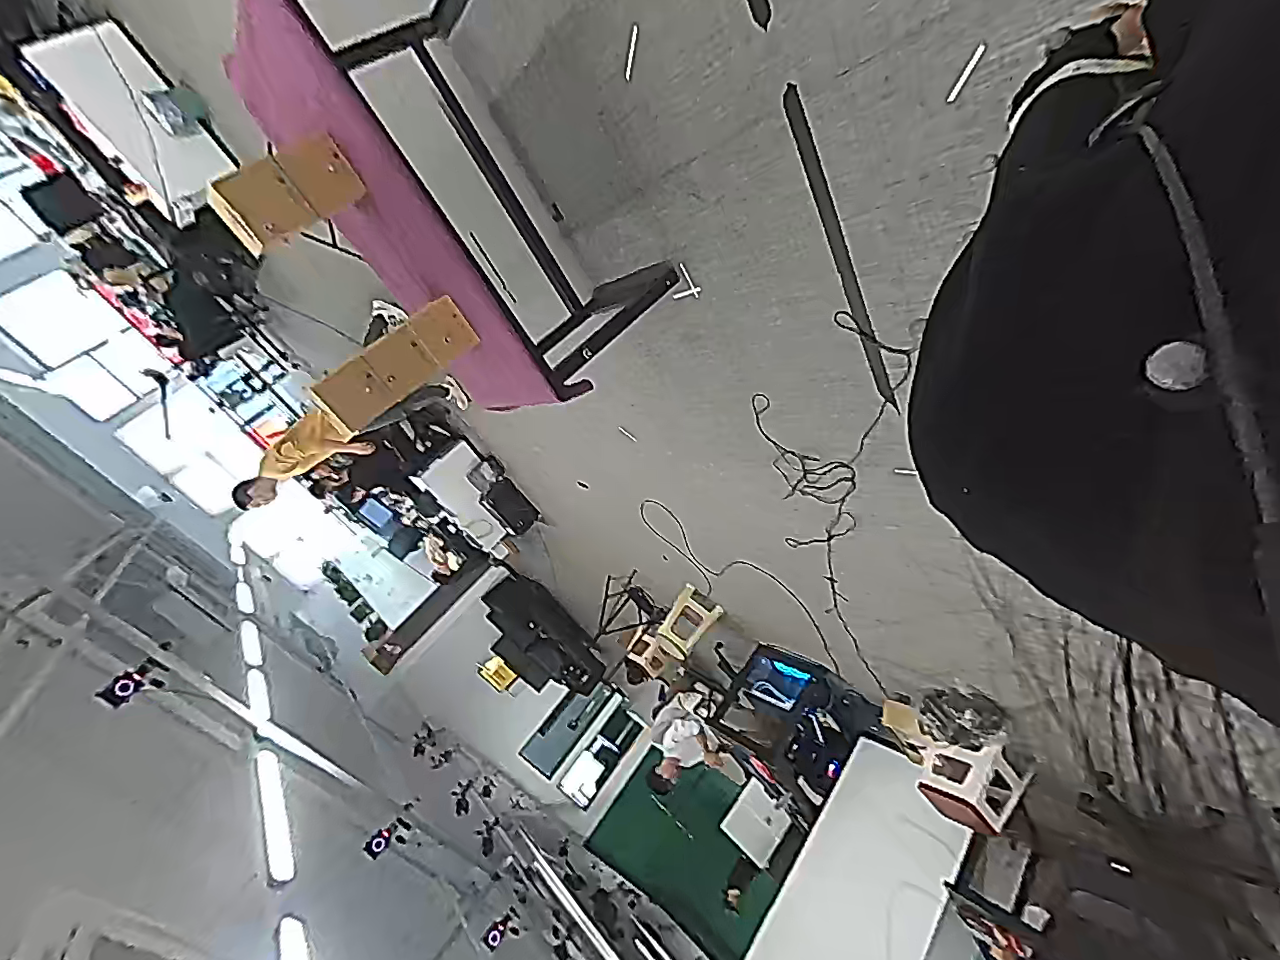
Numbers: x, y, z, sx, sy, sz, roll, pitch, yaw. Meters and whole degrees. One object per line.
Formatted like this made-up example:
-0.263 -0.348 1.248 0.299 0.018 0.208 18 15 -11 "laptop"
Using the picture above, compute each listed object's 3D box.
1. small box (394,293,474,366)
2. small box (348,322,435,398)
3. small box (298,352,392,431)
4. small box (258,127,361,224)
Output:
-0.665 -0.480 1.740 0.179 0.176 0.168 9 140 51 "small box"
-0.769 -0.370 1.677 0.179 0.176 0.168 9 140 52 "small box"
-0.871 -0.262 1.605 0.179 0.176 0.168 8 139 50 "small box"
-0.922 -0.850 1.515 0.179 0.176 0.168 13 143 47 "small box"
